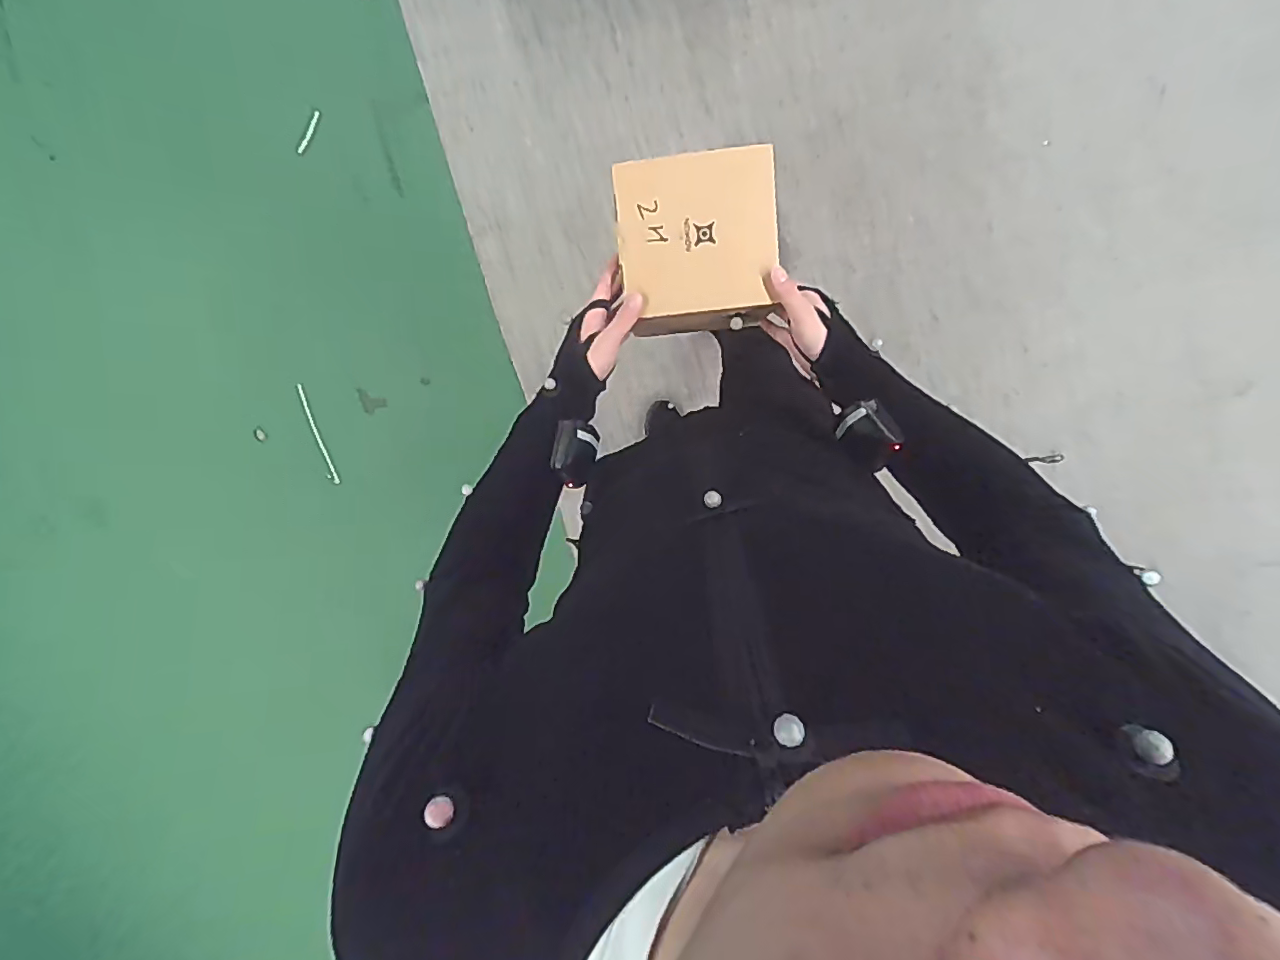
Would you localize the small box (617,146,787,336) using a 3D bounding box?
[{"bbox_3d":[0.072,-0.277,0.664,0.179,0.176,0.168,-5,97,5],"label":"small box"}]
